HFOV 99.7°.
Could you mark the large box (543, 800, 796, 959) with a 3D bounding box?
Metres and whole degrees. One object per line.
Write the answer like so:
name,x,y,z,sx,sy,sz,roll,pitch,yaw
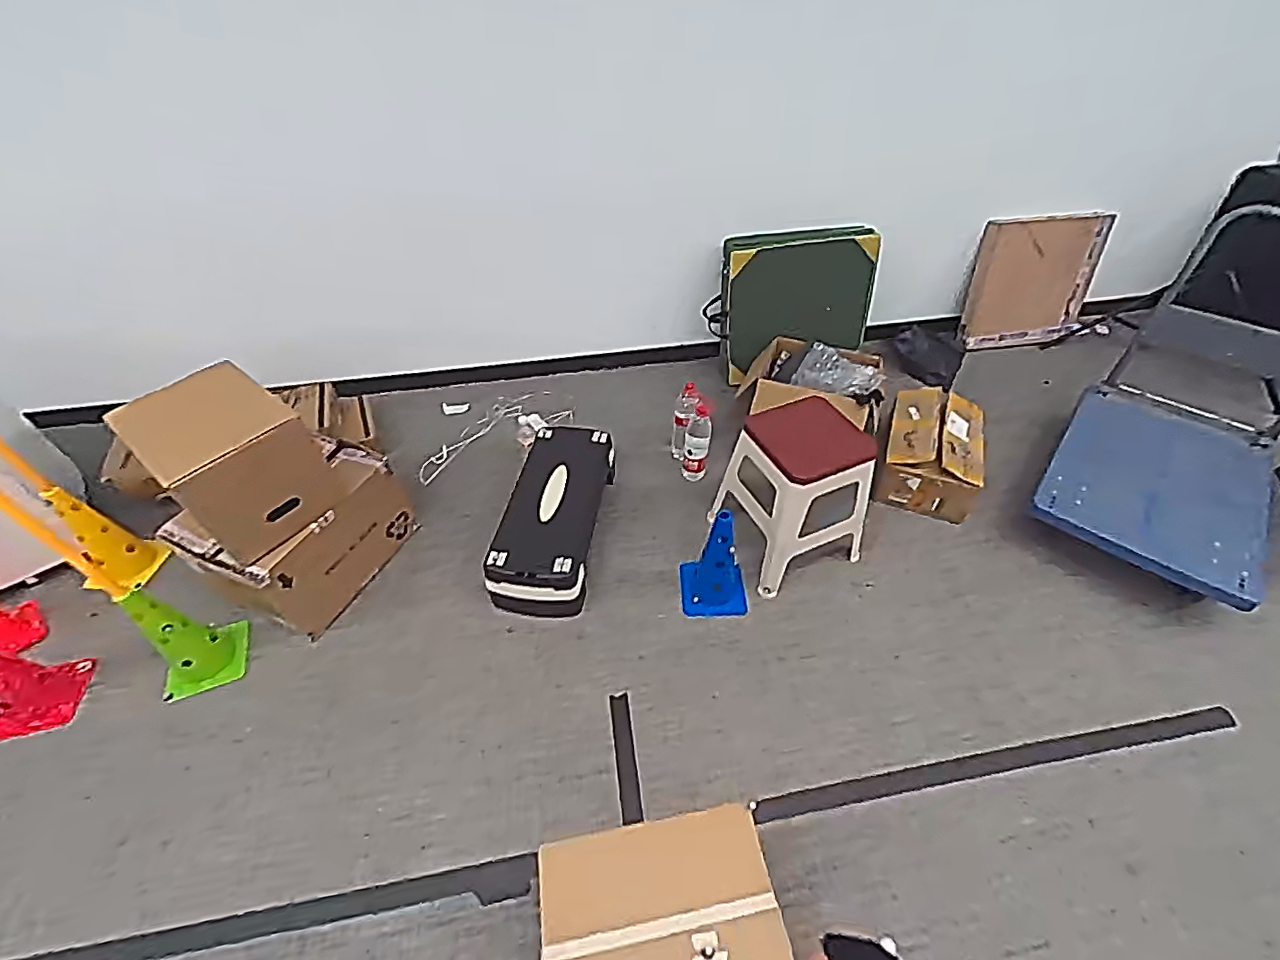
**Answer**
large box,0.043,0.860,1.023,0.408,0.320,0.320,-7,47,-8
